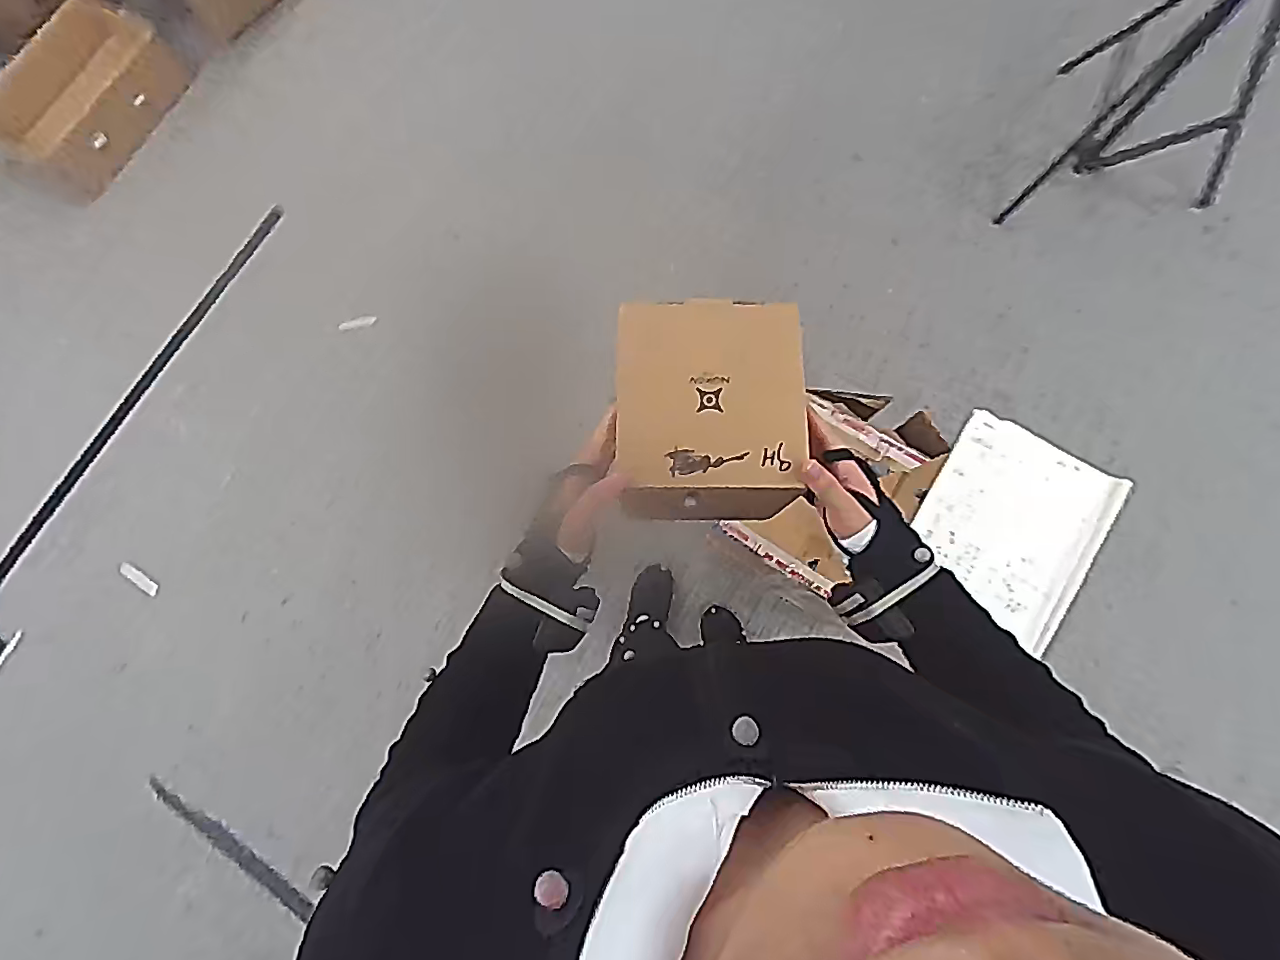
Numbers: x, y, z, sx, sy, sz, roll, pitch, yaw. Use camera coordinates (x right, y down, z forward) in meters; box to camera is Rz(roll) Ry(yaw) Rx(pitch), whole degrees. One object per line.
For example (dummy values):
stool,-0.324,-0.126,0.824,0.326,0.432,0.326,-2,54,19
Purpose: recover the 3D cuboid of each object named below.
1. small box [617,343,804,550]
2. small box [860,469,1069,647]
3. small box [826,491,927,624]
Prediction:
small box,0.062,-0.025,0.565,0.168,0.176,0.179,-1,76,1
small box,0.450,0.111,0.782,0.168,0.176,0.179,32,84,8
small box,0.457,0.138,0.944,0.179,0.176,0.168,28,83,9
